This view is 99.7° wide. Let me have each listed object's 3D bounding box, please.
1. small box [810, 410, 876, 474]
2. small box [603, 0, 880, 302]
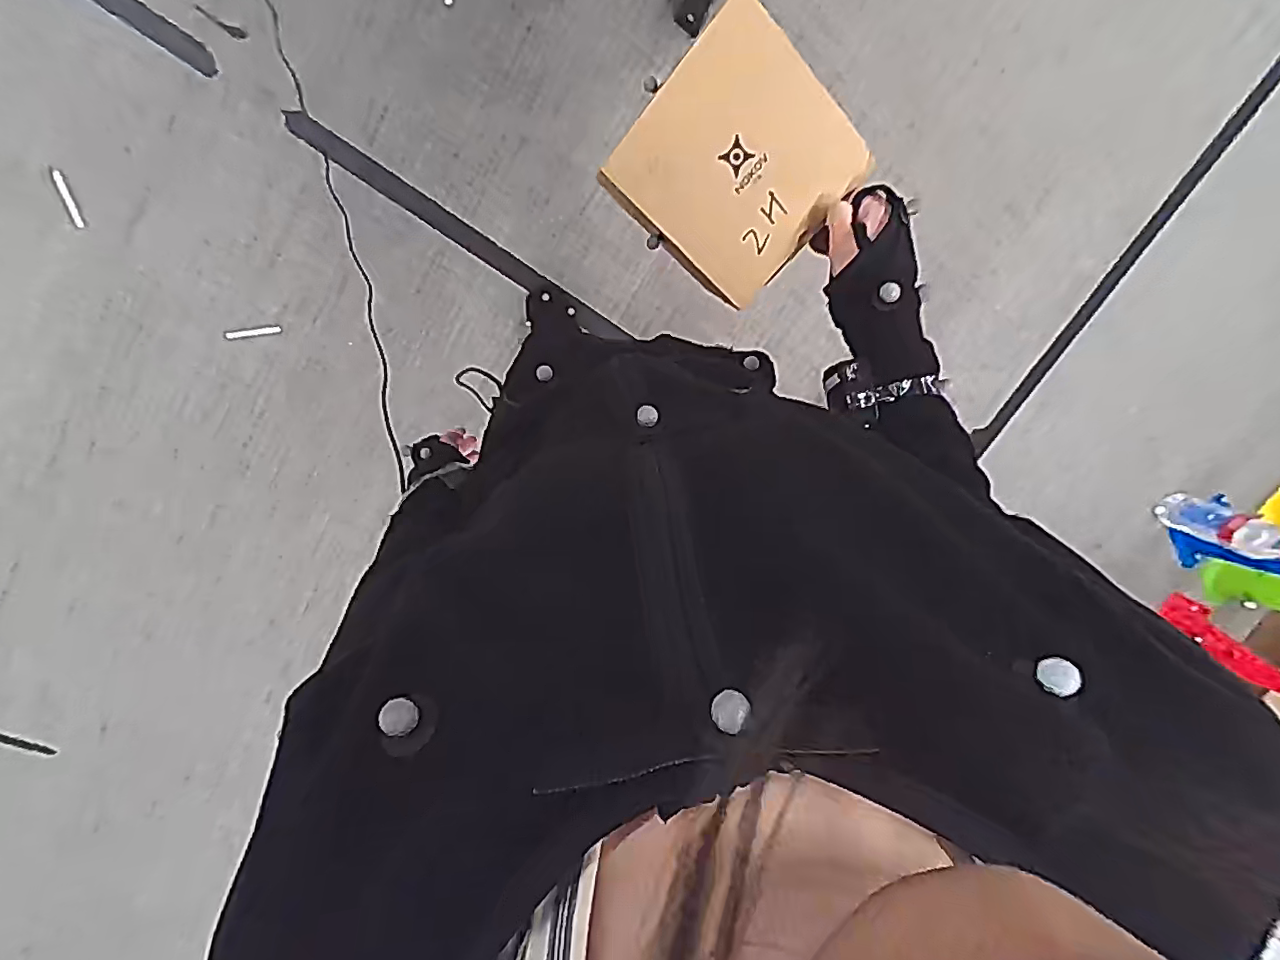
[{"bbox_3d":[0.583,-0.069,1.426,0.179,0.176,0.168,29,105,-17],"label":"small box"},{"bbox_3d":[0.078,-0.300,0.515,0.179,0.176,0.168,37,108,-22],"label":"small box"}]
